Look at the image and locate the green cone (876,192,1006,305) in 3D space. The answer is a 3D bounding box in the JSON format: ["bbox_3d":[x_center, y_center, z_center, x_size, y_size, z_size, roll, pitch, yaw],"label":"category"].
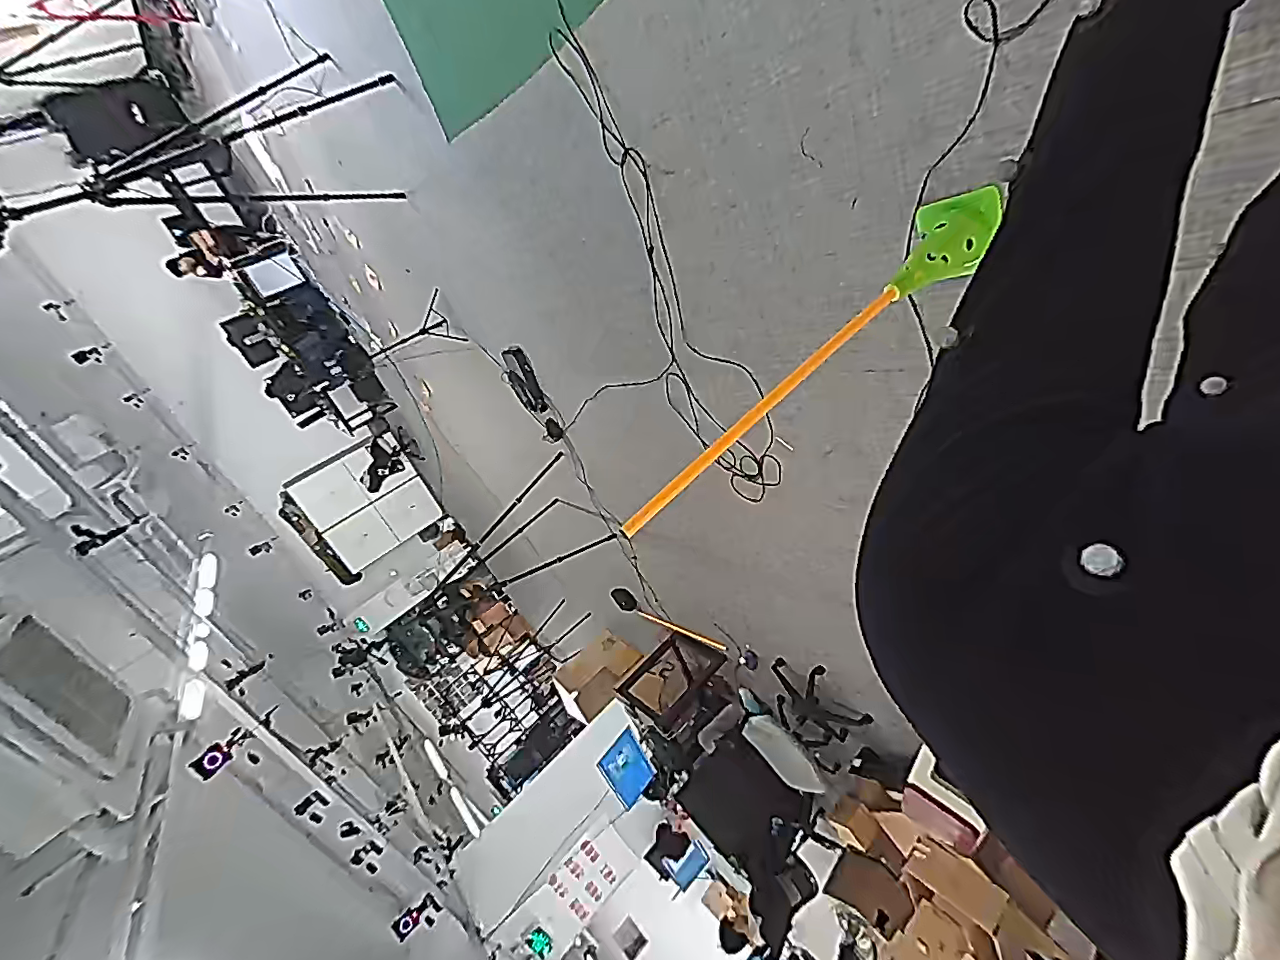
[{"bbox_3d":[0.698,-0.524,1.321,0.202,0.368,0.200,11,132,56],"label":"green cone"}]
